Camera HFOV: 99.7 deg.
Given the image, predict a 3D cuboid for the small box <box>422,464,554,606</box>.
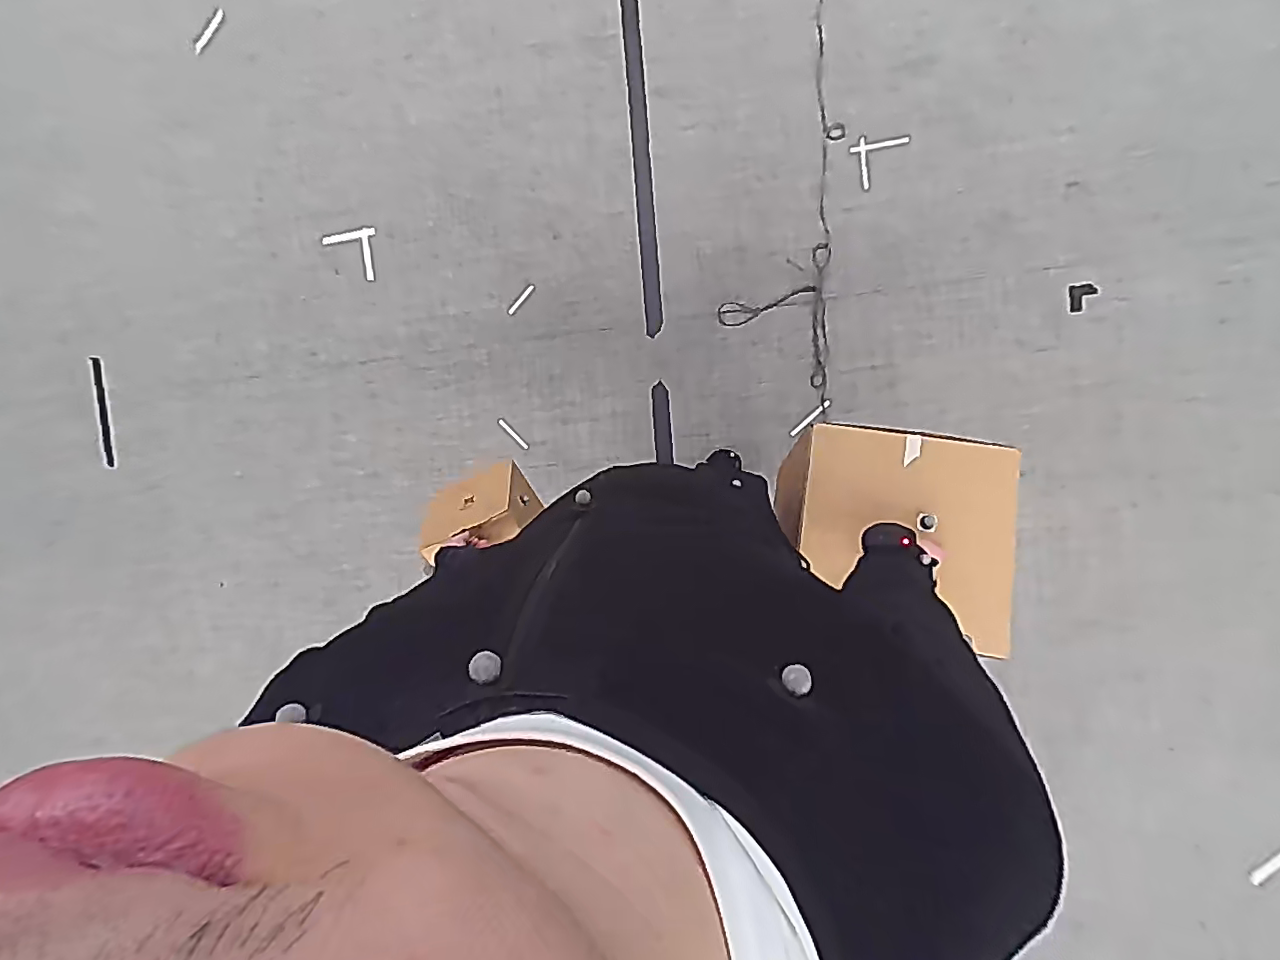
[{"bbox_3d":[-0.267,0.107,0.992,0.168,0.179,0.176,-24,121,4],"label":"small box"}]
